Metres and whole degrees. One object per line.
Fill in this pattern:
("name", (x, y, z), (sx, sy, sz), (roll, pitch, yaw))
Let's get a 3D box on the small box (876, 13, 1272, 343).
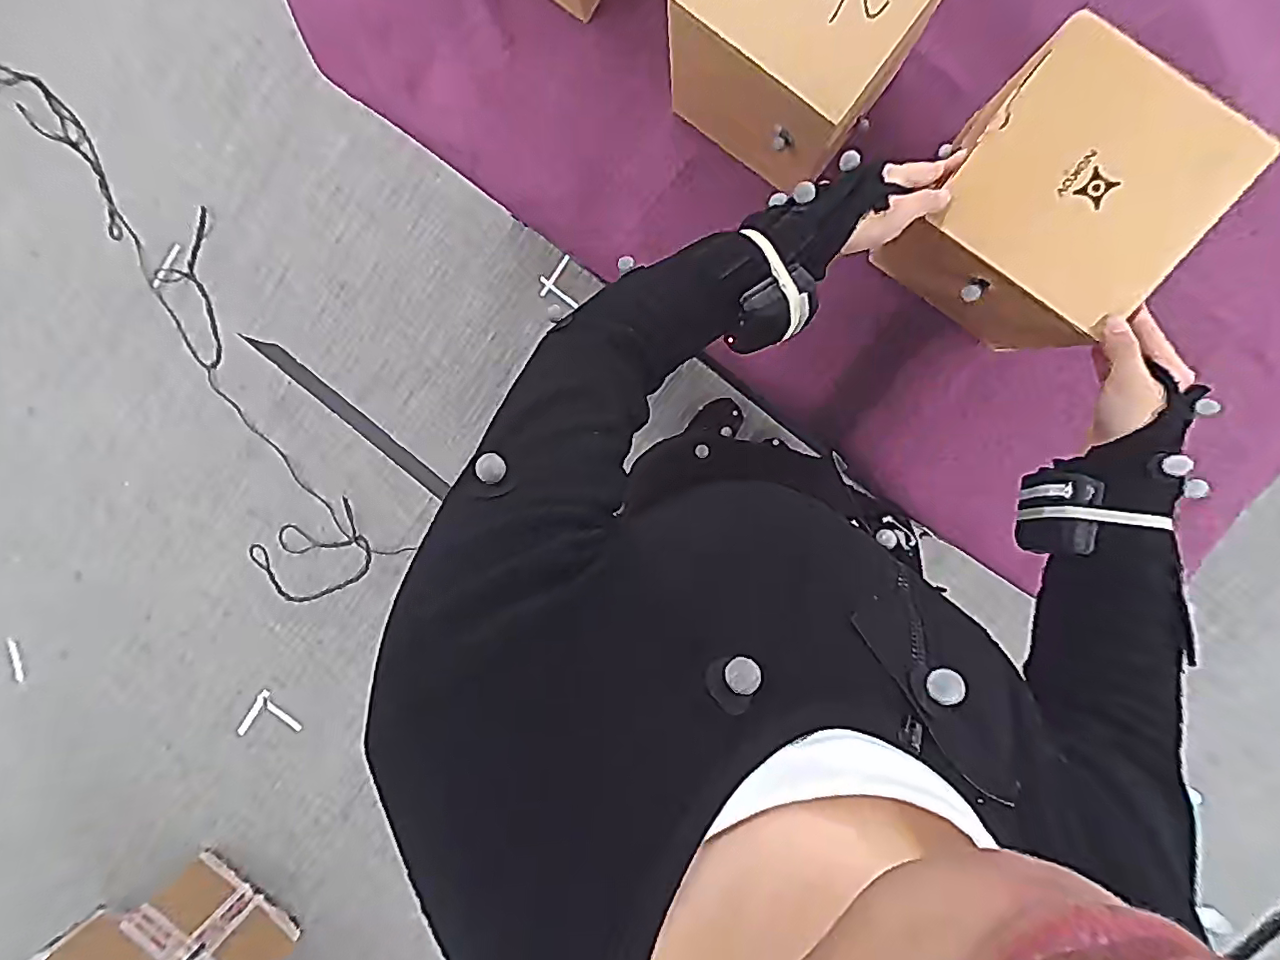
("small box", (0.349, -0.238, 0.482), (0.179, 0.176, 0.168), (36, 104, 2))
